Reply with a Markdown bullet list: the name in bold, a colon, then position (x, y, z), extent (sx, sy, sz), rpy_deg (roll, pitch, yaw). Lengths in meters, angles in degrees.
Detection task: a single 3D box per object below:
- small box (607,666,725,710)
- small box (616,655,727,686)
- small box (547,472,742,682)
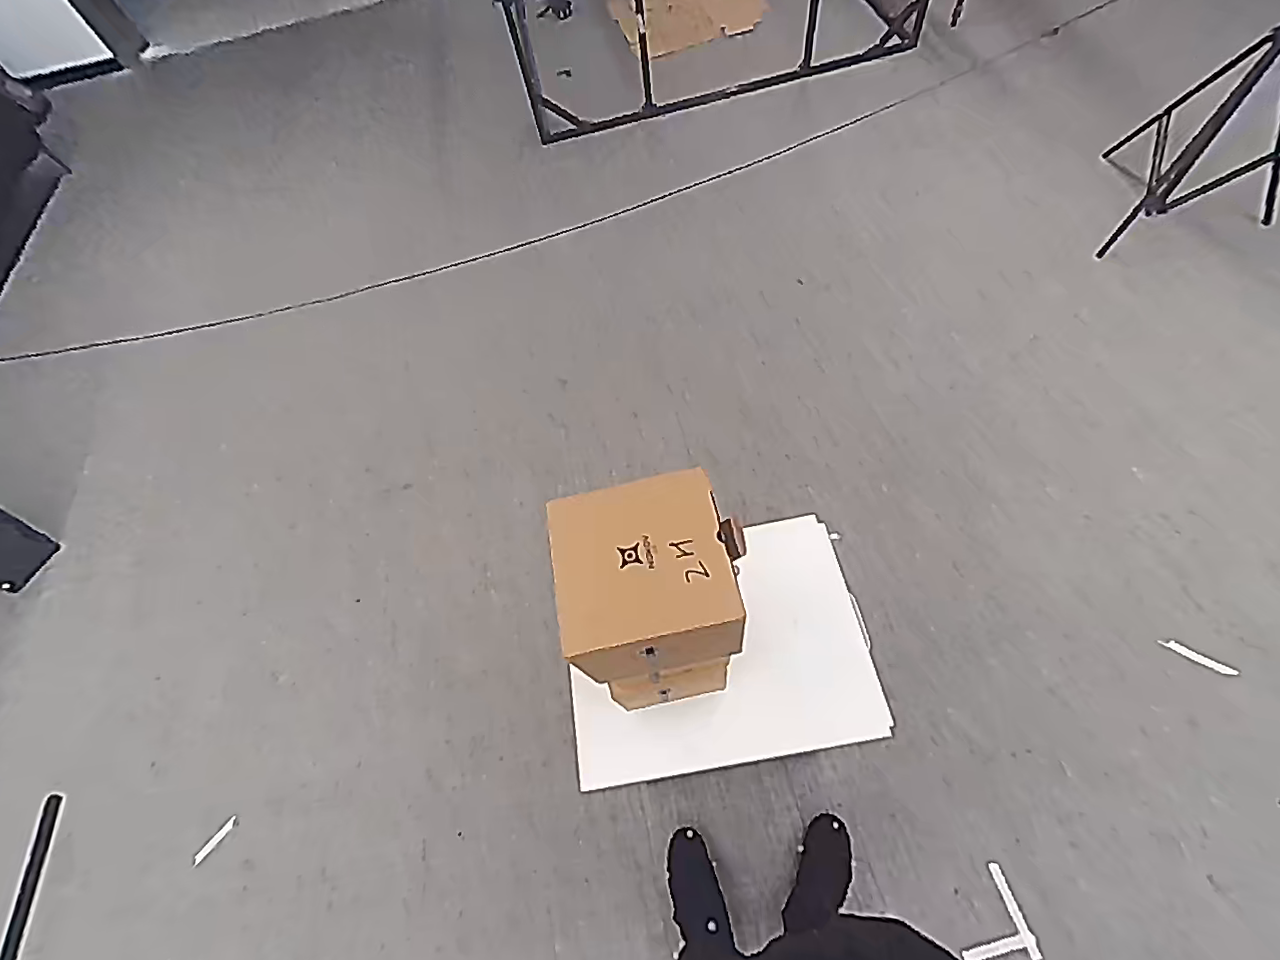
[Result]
- **small box**: position (0.036, 0.271, 0.893), extent (0.179, 0.176, 0.168), rpy_deg (-13, 61, 0)
- **small box**: position (0.025, 0.180, 0.758), extent (0.168, 0.176, 0.179), rpy_deg (-13, 60, 1)
- **small box**: position (0.008, 0.117, 0.605), extent (0.179, 0.176, 0.168), rpy_deg (-13, 61, 1)
